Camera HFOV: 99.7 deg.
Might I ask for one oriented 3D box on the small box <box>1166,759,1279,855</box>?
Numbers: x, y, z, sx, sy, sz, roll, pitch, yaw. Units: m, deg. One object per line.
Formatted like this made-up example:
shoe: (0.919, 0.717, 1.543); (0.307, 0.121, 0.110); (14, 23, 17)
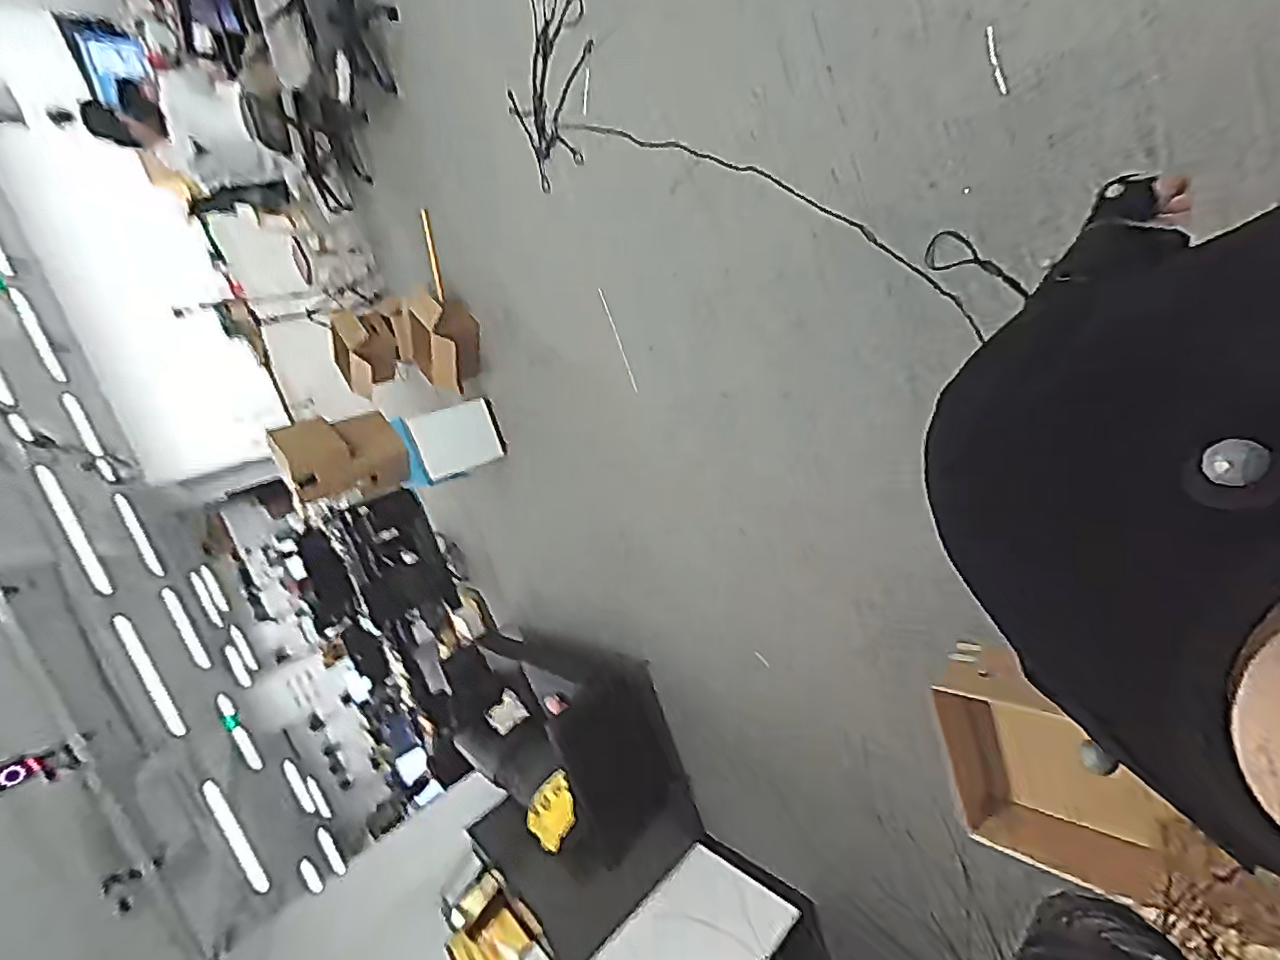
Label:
small box: (0.992, 0.598, 0.871); (0.168, 0.176, 0.179); (-11, 101, 54)

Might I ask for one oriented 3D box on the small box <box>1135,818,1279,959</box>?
small box: (0.859, 0.642, 0.783); (0.168, 0.176, 0.179); (-10, 101, 55)
